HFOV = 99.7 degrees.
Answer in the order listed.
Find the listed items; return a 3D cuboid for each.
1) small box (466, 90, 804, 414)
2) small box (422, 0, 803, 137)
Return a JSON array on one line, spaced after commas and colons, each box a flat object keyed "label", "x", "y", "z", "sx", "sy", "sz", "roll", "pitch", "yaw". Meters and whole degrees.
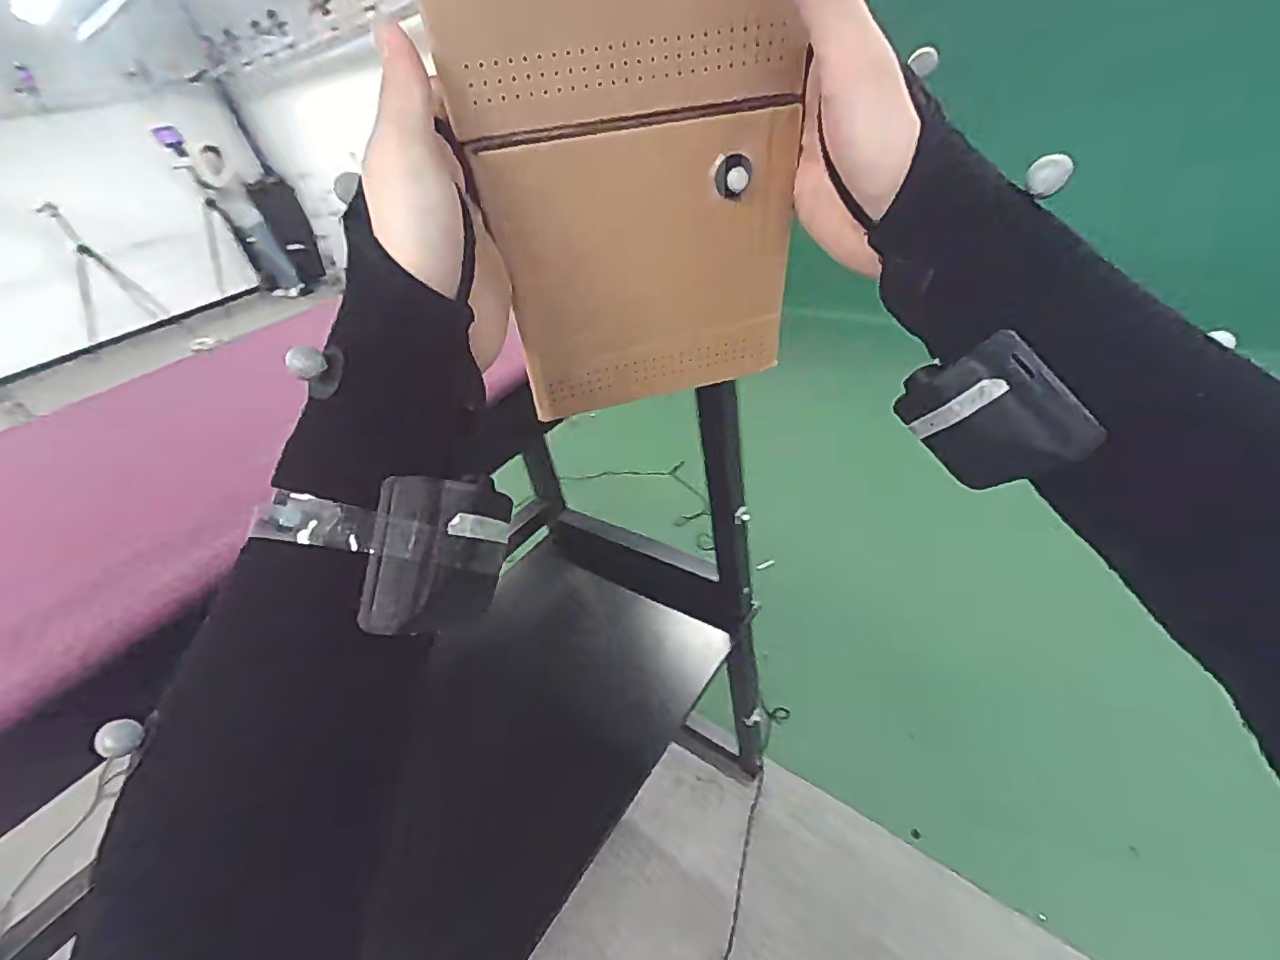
[{"label": "small box", "x": -0.010, "y": -0.167, "z": 0.377, "sx": 0.179, "sy": 0.176, "sz": 0.168, "roll": -14, "pitch": 45, "yaw": -8}, {"label": "small box", "x": -0.024, "y": -0.282, "z": 0.259, "sx": 0.179, "sy": 0.176, "sz": 0.168, "roll": -13, "pitch": 45, "yaw": -7}]
